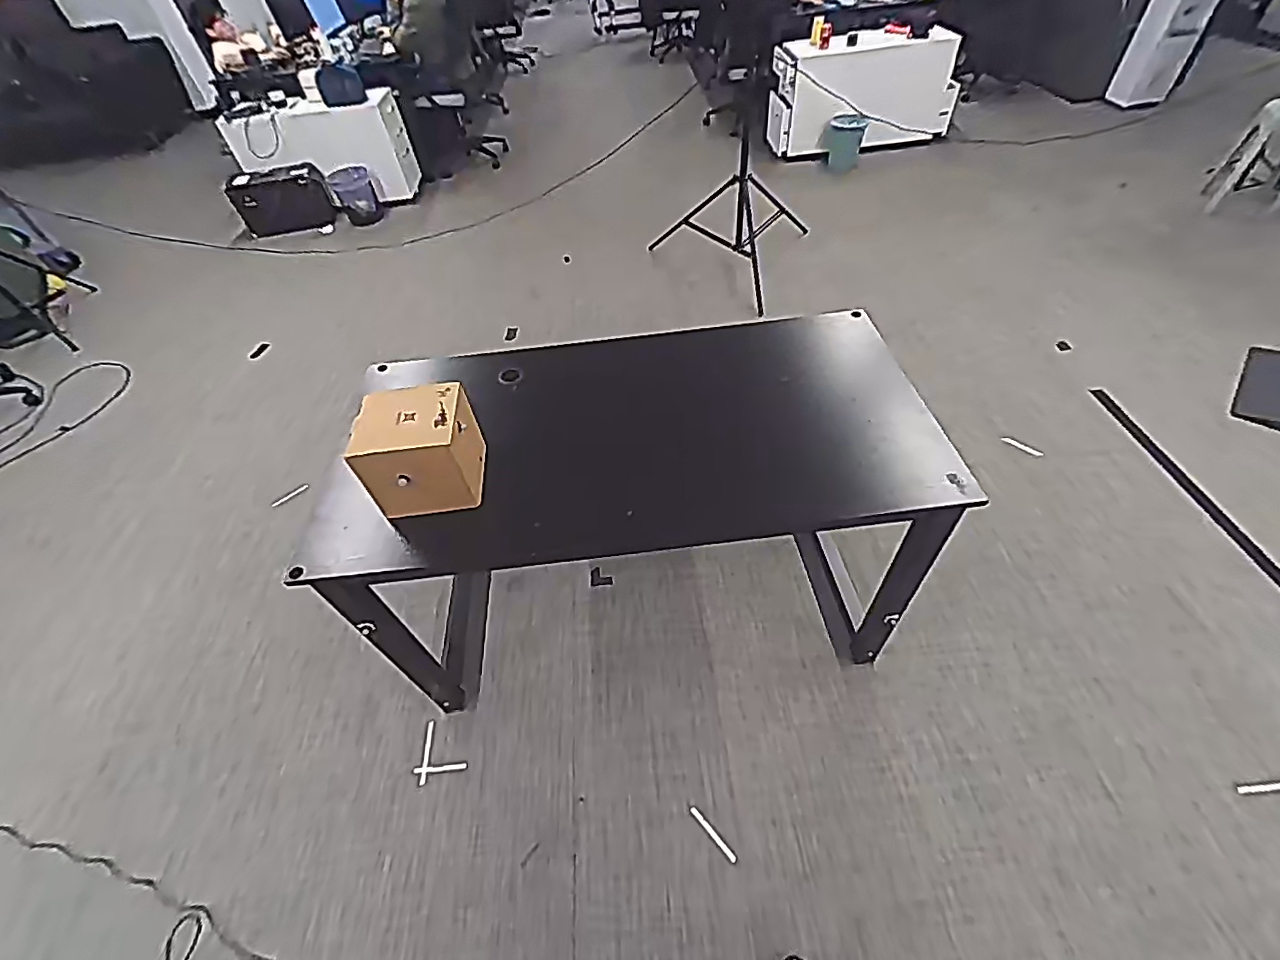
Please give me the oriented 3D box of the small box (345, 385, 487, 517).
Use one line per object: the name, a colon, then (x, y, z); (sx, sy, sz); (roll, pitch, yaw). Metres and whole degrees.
small box: (-0.397, -0.049, 0.991); (0.179, 0.176, 0.168); (-8, 49, -1)
